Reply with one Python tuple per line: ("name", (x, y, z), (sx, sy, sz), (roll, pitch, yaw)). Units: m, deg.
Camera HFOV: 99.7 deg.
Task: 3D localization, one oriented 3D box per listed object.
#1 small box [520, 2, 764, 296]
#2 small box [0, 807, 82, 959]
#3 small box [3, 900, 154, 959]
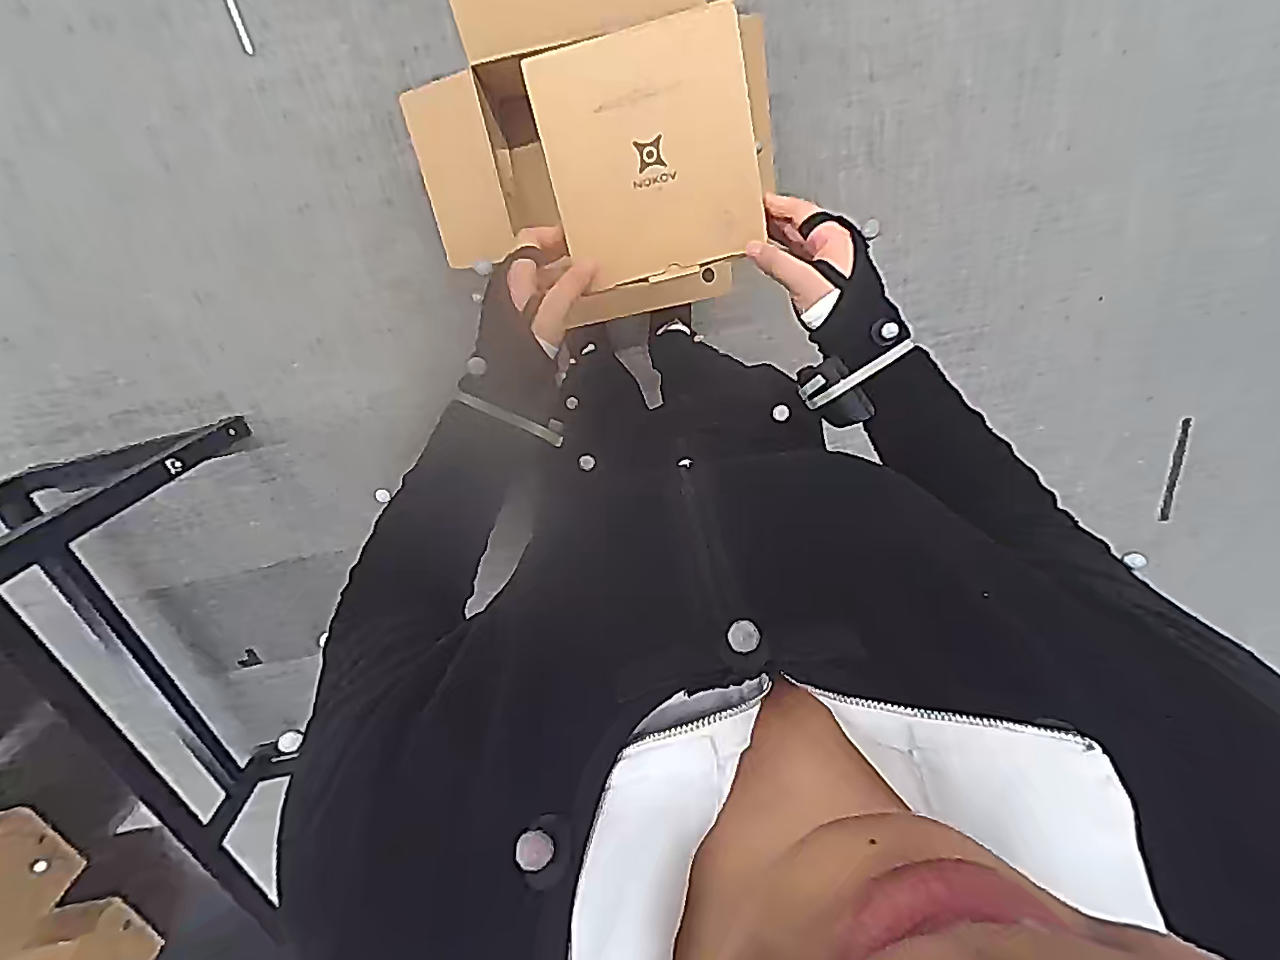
("small box", (0.008, -0.282, 0.504), (0.168, 0.176, 0.179), (-13, 110, 5))
("small box", (-1.087, 0.666, 0.867), (0.179, 0.176, 0.168), (-12, 115, 0))
("small box", (-1.046, 0.902, 0.979), (0.179, 0.176, 0.168), (-12, 115, 1))
